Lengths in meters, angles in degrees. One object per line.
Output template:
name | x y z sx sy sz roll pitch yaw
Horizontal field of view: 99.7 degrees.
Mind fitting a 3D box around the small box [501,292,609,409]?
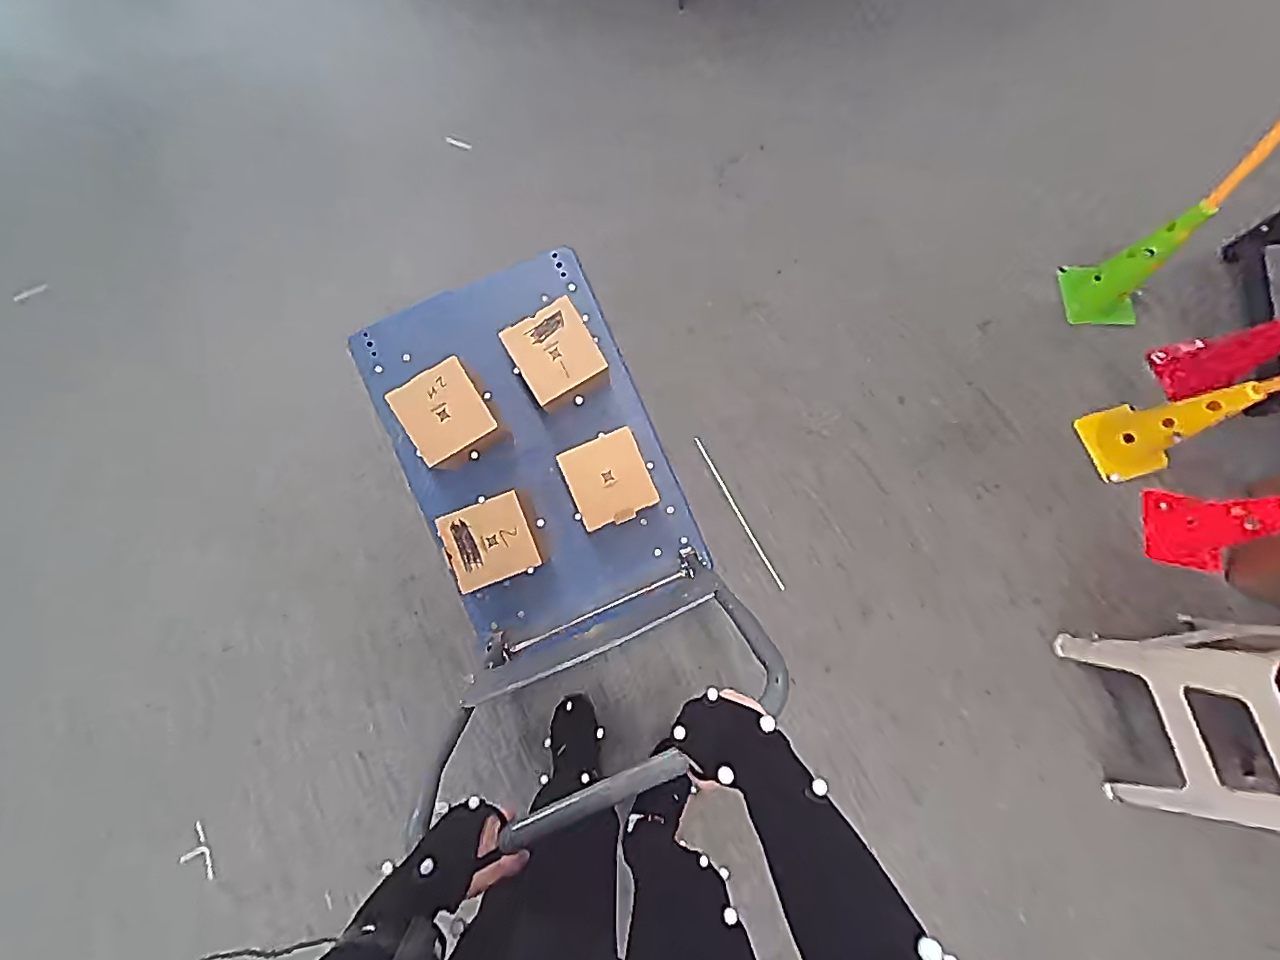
small box | -0.181 -0.276 1.193 0.168 0.176 0.179 -31 92 -2

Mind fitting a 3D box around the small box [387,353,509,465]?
small box | -0.406 -0.146 1.180 0.168 0.176 0.179 -31 91 -4

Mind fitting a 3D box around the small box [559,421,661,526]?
small box | -0.068 -0.013 1.198 0.168 0.176 0.179 -24 92 -3
